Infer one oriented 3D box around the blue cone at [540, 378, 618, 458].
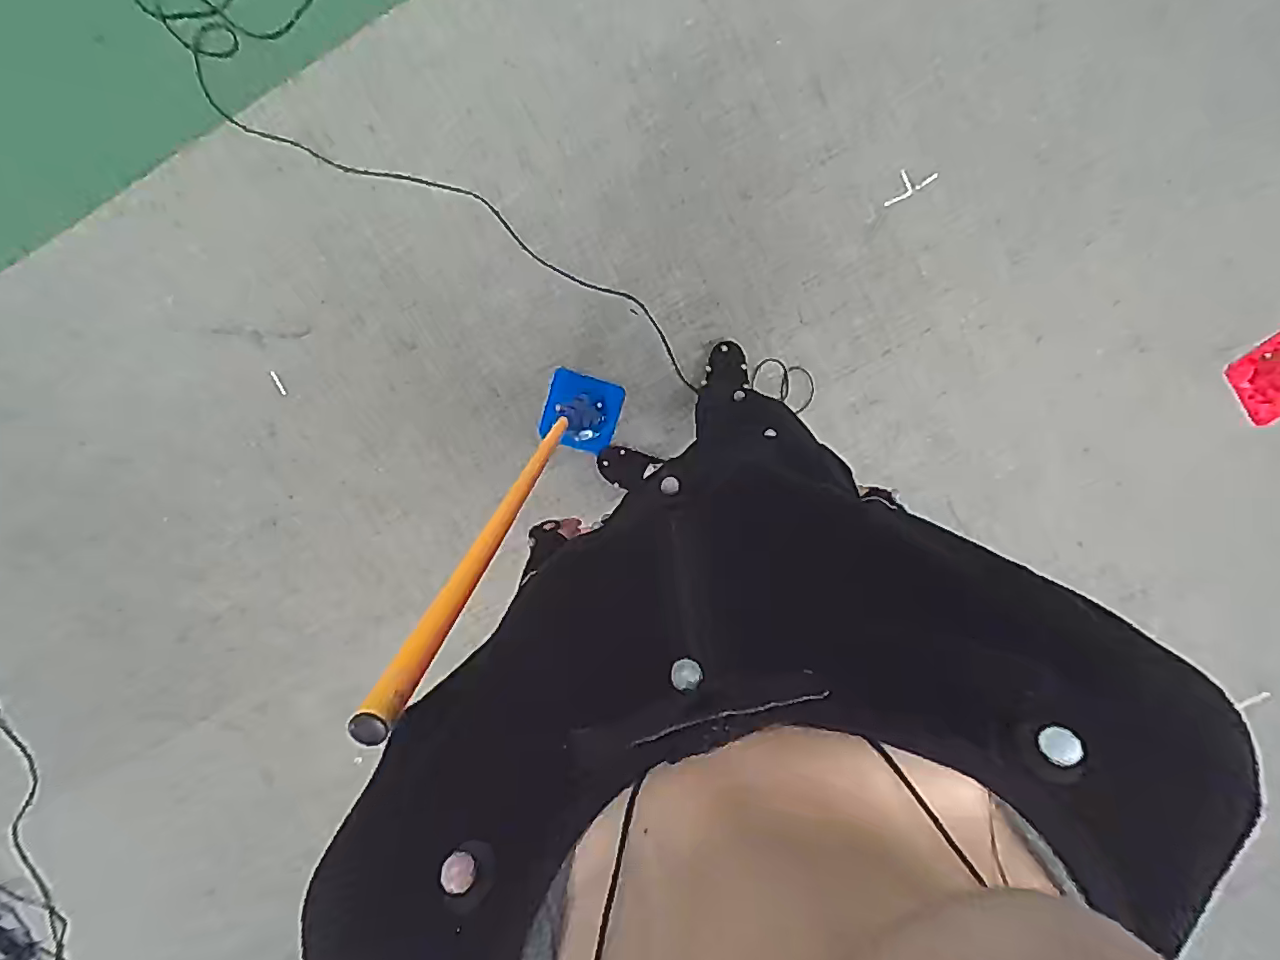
[{"bbox_3d":[-0.162,-0.133,1.286,0.192,0.380,0.193,16,101,-3],"label":"blue cone"}]
